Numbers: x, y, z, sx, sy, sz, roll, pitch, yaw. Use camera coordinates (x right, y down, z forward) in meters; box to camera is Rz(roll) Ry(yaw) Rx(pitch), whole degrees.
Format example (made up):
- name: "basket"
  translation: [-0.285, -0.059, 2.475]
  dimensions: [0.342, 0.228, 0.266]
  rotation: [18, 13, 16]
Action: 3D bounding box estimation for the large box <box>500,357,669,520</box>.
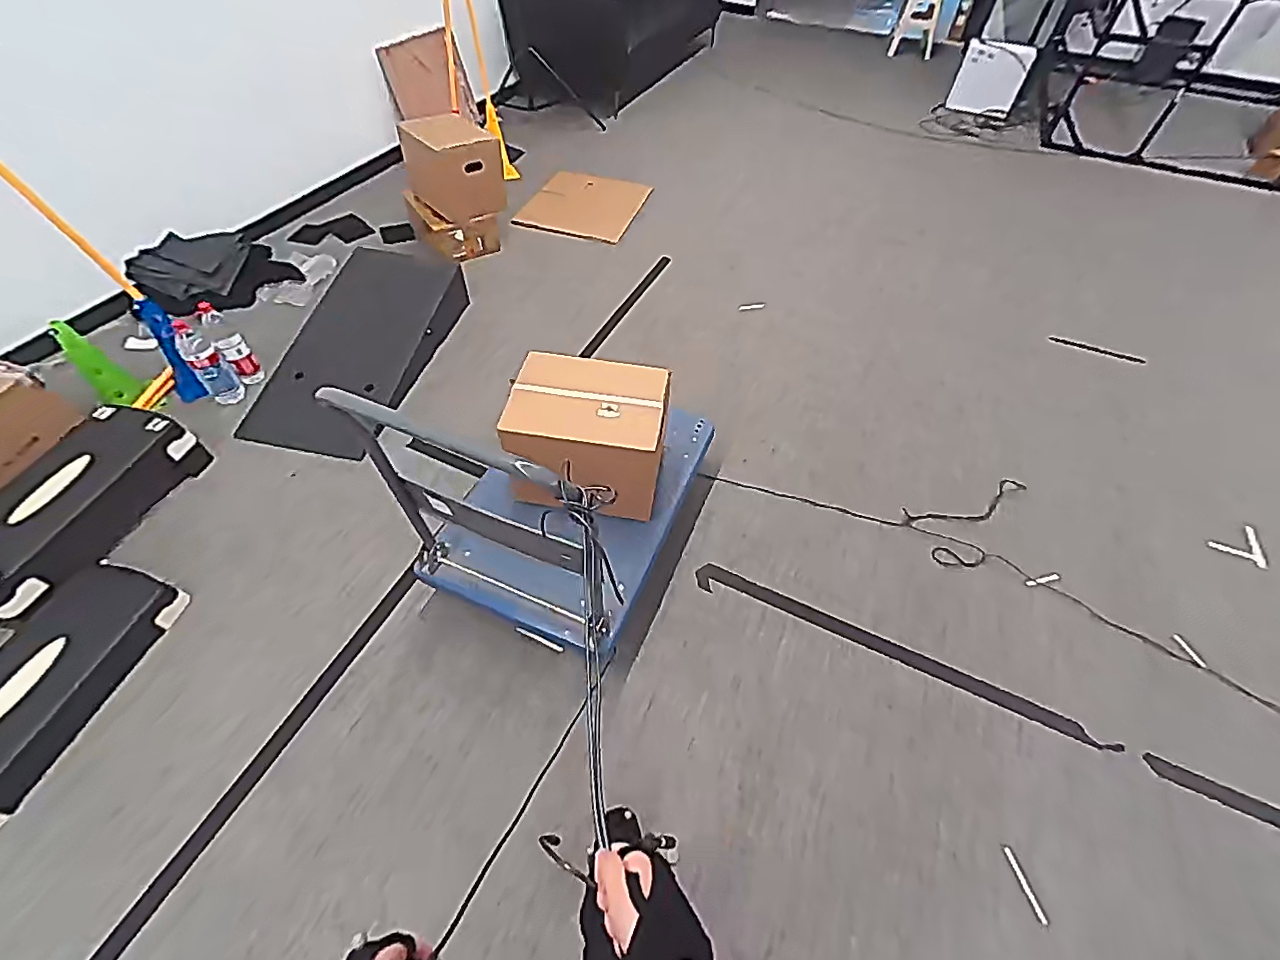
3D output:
- name: "large box"
  translation: [-0.144, -0.114, 1.540]
  dimensions: [0.408, 0.320, 0.320]
  rotation: [9, 52, 3]
